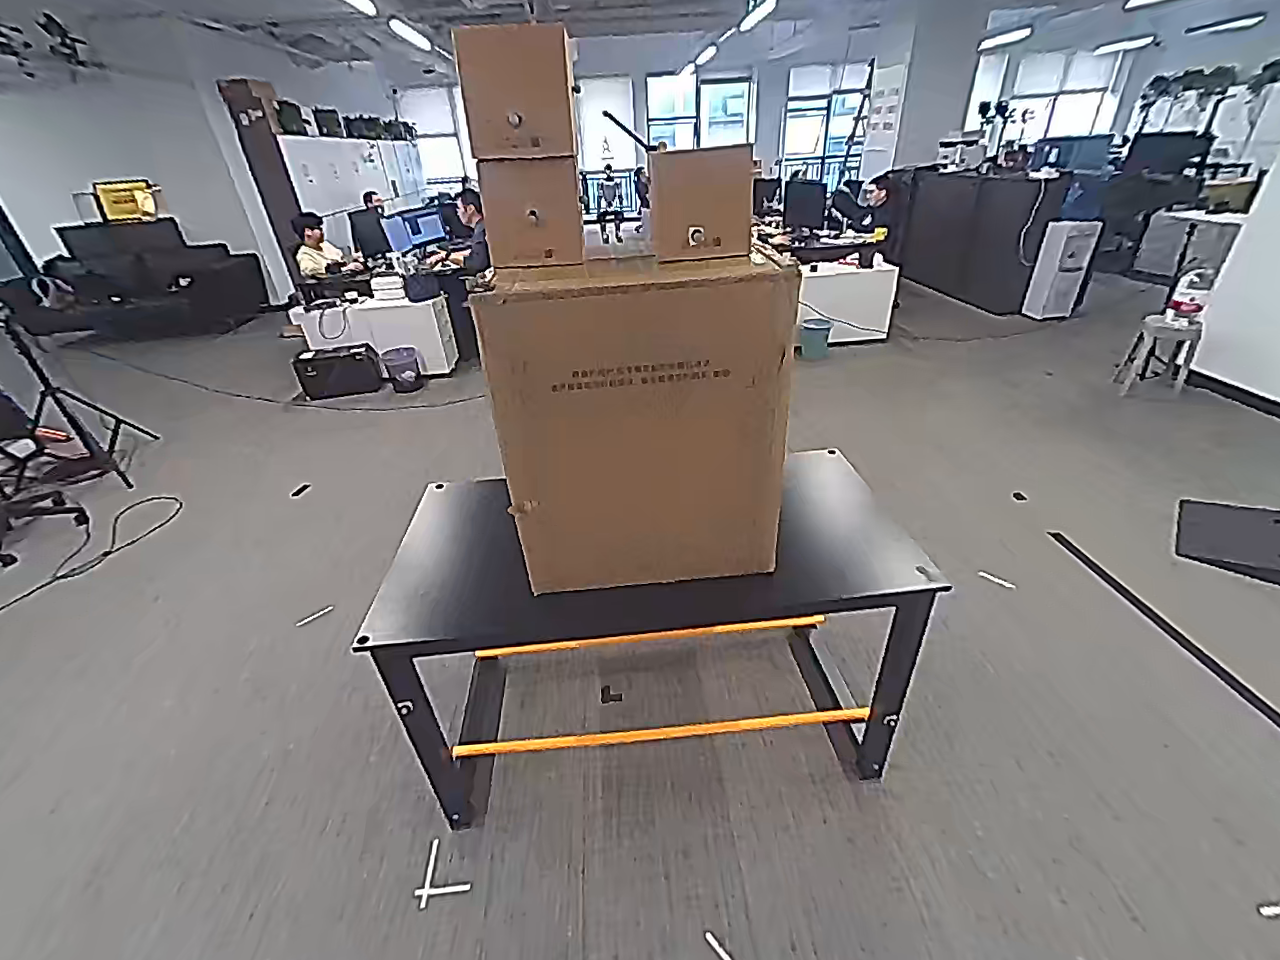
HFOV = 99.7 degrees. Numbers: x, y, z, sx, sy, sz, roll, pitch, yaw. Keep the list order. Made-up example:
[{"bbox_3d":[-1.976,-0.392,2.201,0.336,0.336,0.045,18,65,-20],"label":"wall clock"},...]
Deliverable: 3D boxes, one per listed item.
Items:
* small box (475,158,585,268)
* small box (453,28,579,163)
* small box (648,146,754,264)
[{"bbox_3d":[-0.191,-0.490,0.994,0.168,0.176,0.179,-4,32,-3],"label":"small box"},{"bbox_3d":[-0.193,-0.623,0.894,0.168,0.176,0.179,-4,32,-2],"label":"small box"},{"bbox_3d":[0.104,-0.491,0.967,0.168,0.176,0.179,-6,32,1],"label":"small box"}]
